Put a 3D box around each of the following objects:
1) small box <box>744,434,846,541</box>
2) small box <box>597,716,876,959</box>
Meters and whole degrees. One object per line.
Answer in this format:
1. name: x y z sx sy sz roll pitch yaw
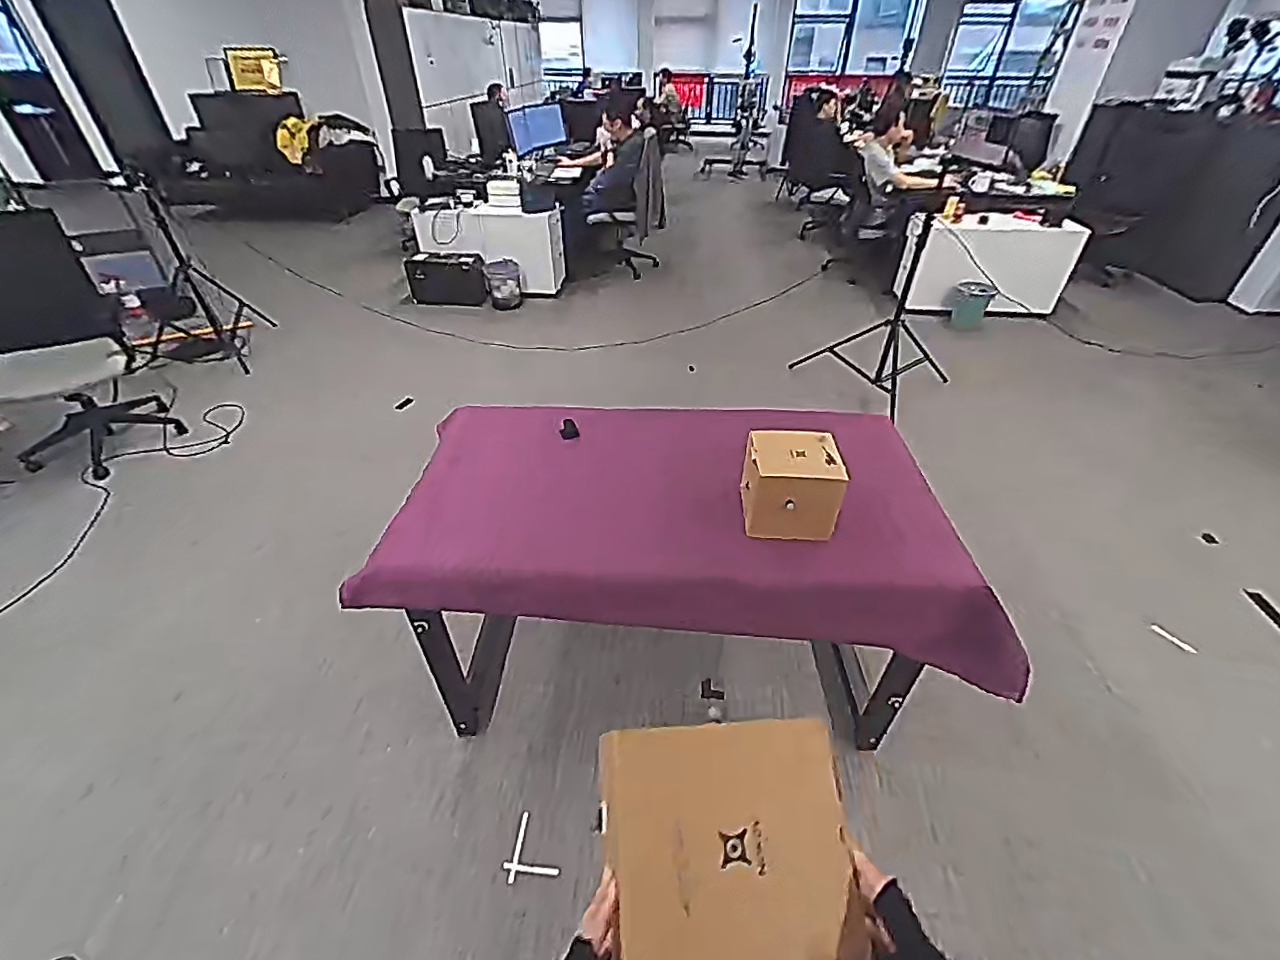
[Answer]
1. small box: 0.319 0.016 1.155 0.179 0.176 0.168 1 38 3
2. small box: 0.060 0.303 0.463 0.179 0.176 0.168 -1 61 -10
